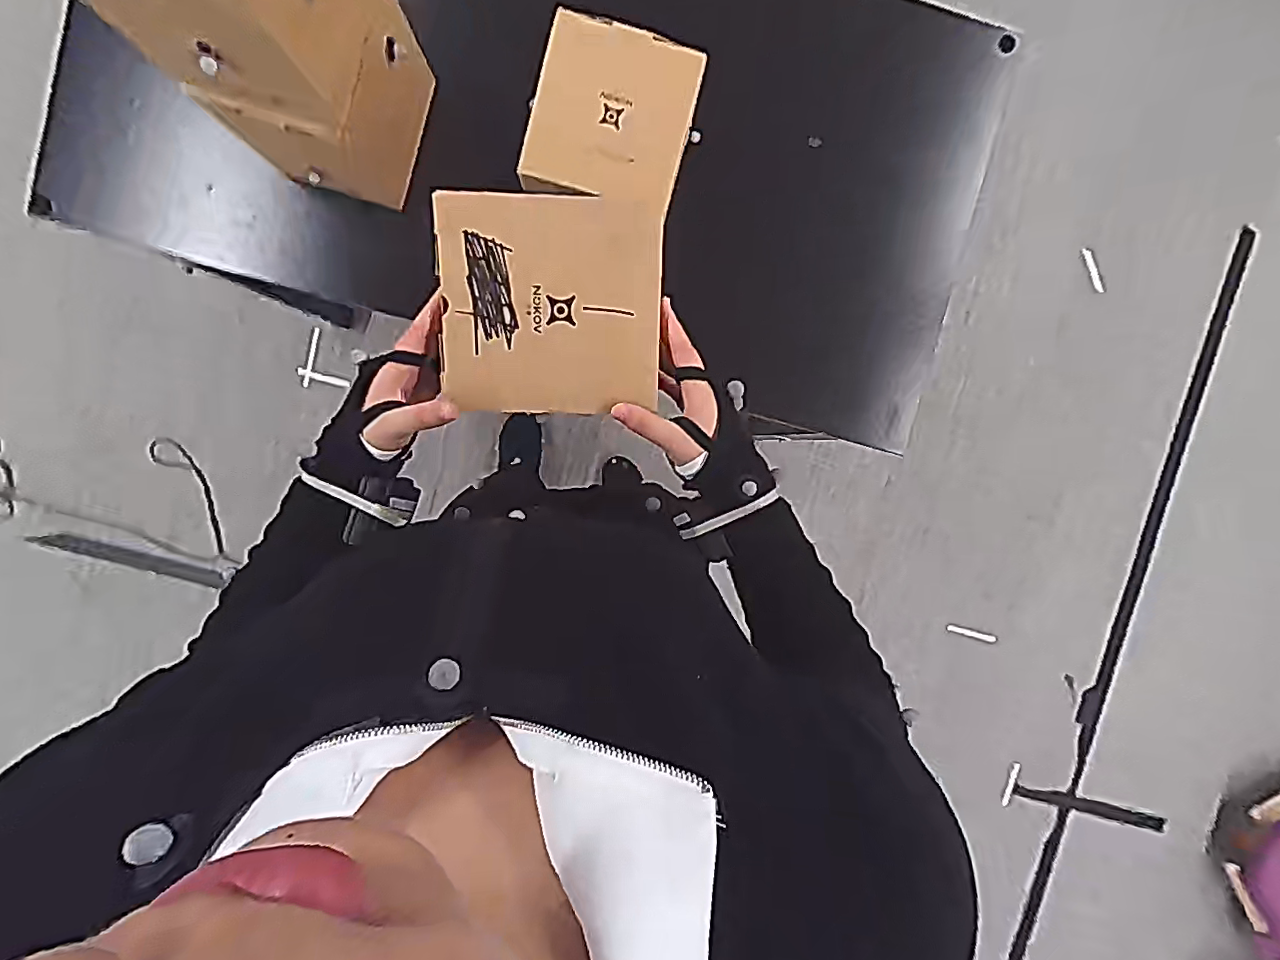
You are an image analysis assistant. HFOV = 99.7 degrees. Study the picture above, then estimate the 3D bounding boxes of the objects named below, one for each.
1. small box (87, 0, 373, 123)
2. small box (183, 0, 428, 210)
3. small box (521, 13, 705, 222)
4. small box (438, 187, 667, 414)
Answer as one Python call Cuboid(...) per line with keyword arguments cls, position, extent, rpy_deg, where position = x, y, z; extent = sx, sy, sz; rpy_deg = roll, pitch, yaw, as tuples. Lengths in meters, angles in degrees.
Cuboid(cls="small box", position=(-0.353, -0.451, 0.462), extent=(0.168, 0.176, 0.179), rpy_deg=(13, 94, -5))
Cuboid(cls="small box", position=(-0.364, -0.453, 0.625), extent=(0.168, 0.176, 0.179), rpy_deg=(16, 93, -5))
Cuboid(cls="small box", position=(-0.033, -0.392, 0.655), extent=(0.168, 0.176, 0.179), rpy_deg=(14, 94, -3))
Cuboid(cls="small box", position=(-0.072, -0.153, 0.503), extent=(0.179, 0.176, 0.168), rpy_deg=(2, 102, -3))
